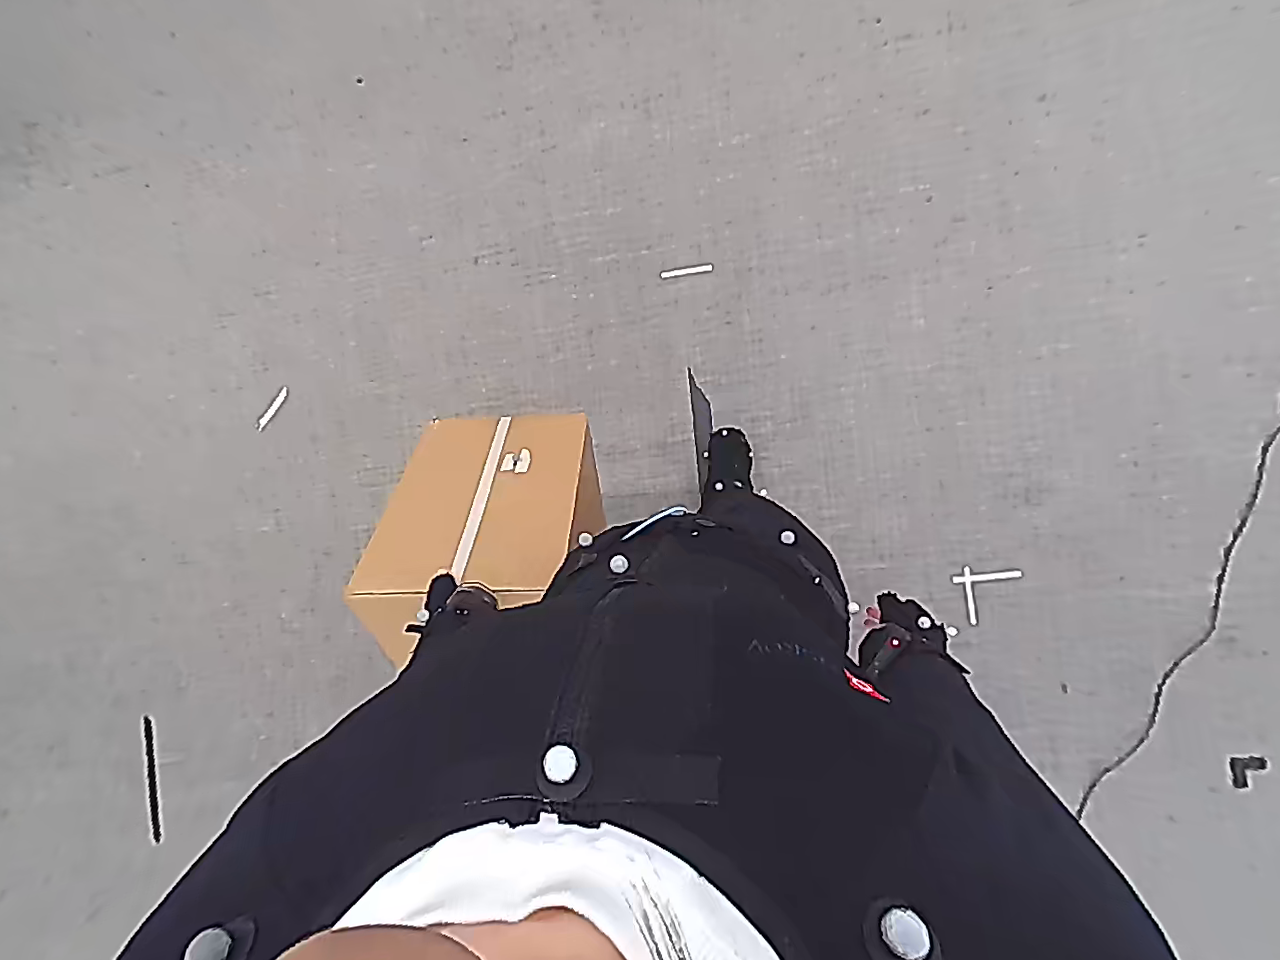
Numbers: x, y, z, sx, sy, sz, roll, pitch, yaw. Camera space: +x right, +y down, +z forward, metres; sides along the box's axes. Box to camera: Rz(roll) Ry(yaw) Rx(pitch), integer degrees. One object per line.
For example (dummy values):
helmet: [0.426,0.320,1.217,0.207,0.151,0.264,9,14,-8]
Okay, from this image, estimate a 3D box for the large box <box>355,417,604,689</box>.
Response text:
large box: [-0.248,0.129,1.011,0.320,0.408,0.320,-2,133,4]
